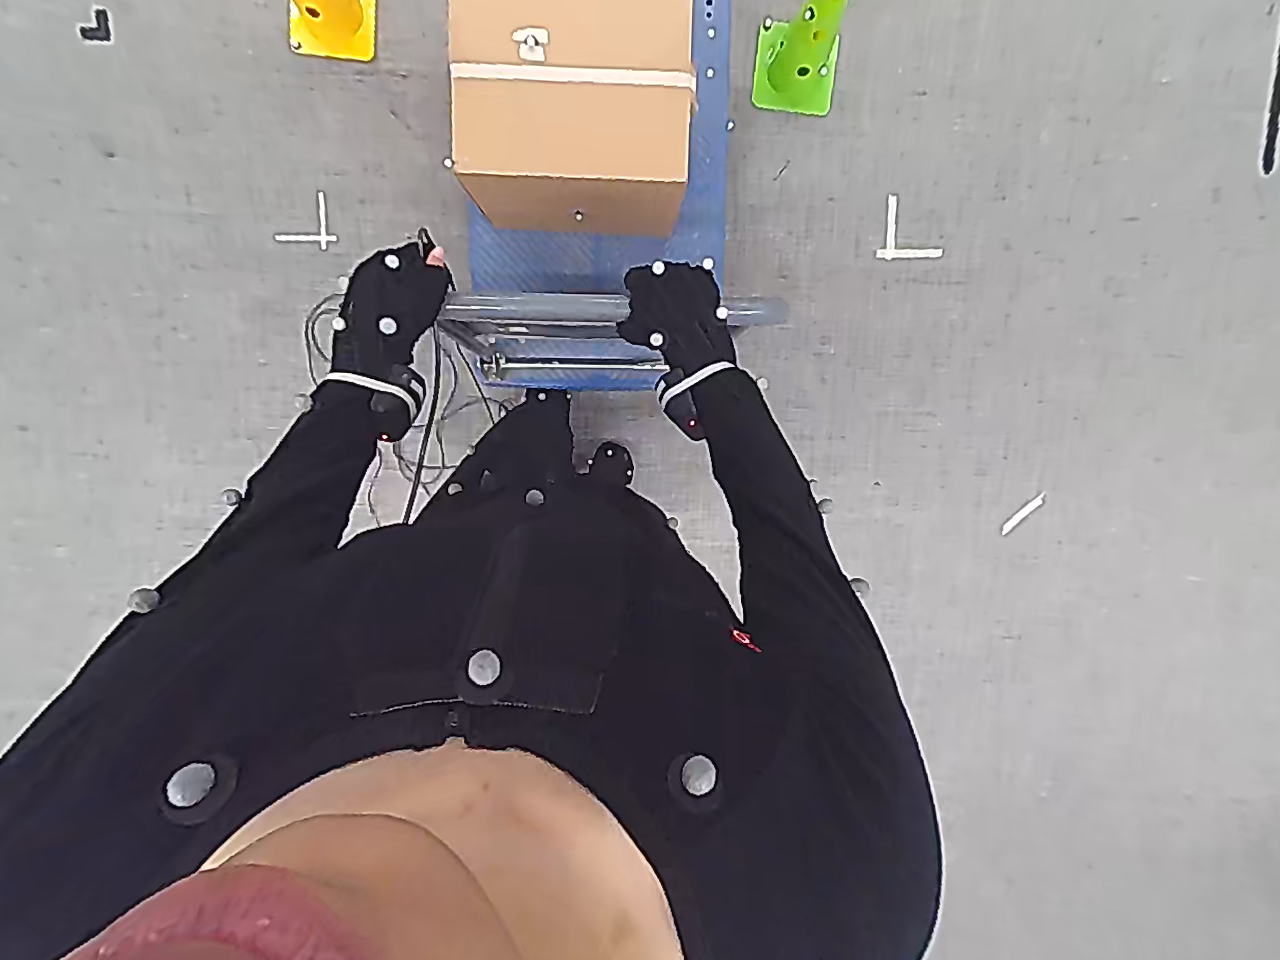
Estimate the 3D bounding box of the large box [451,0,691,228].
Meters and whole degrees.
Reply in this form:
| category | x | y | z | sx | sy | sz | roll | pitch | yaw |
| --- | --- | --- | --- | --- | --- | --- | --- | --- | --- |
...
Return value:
| category | x | y | z | sx | sy | sz | roll | pitch | yaw |
| --- | --- | --- | --- | --- | --- | --- | --- | --- | --- |
| large box | -0.116 | -0.700 | 1.056 | 0.408 | 0.320 | 0.320 | 1 | 98 | -1 |

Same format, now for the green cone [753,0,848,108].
| category | x | y | z | sx | sy | sz | roll | pitch | yaw |
| --- | --- | --- | --- | --- | --- | --- | --- | --- | --- |
| green cone | 0.396 | -1.019 | 1.175 | 0.202 | 0.368 | 0.200 | 5 | 97 | -4 |
